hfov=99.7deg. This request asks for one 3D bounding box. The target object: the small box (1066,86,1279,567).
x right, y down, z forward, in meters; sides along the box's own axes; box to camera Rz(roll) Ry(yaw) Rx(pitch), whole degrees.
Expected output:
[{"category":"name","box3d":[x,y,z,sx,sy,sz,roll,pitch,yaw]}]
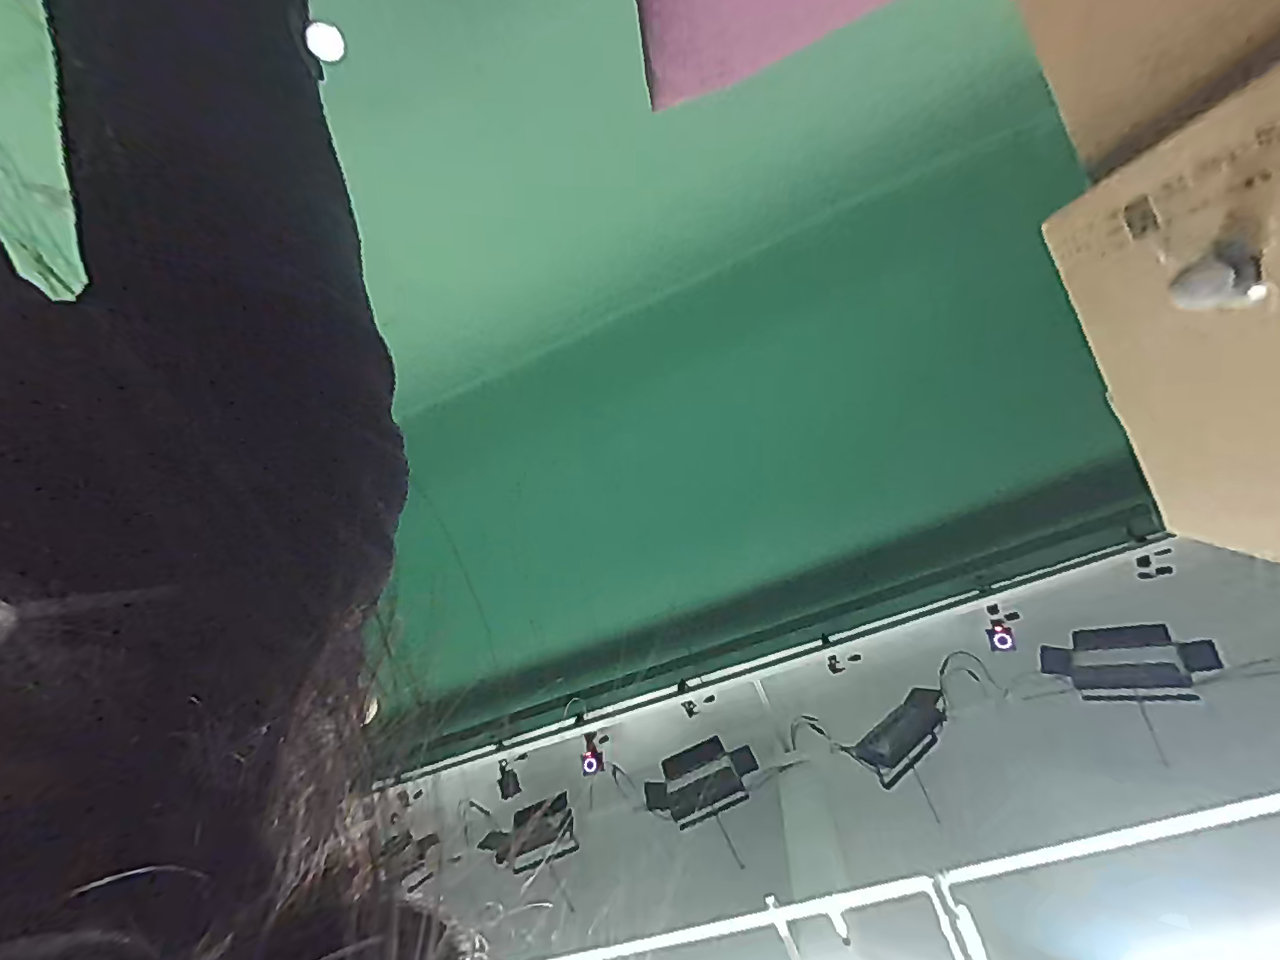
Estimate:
[{"category":"small box","box3d":[0.288,-0.070,0.160,0.179,0.176,0.168,-23,-179,13]}]

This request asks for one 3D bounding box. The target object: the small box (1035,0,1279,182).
[{"category":"small box","box3d":[0.231,-0.223,0.134,0.179,0.176,0.168,-23,-178,13]}]
